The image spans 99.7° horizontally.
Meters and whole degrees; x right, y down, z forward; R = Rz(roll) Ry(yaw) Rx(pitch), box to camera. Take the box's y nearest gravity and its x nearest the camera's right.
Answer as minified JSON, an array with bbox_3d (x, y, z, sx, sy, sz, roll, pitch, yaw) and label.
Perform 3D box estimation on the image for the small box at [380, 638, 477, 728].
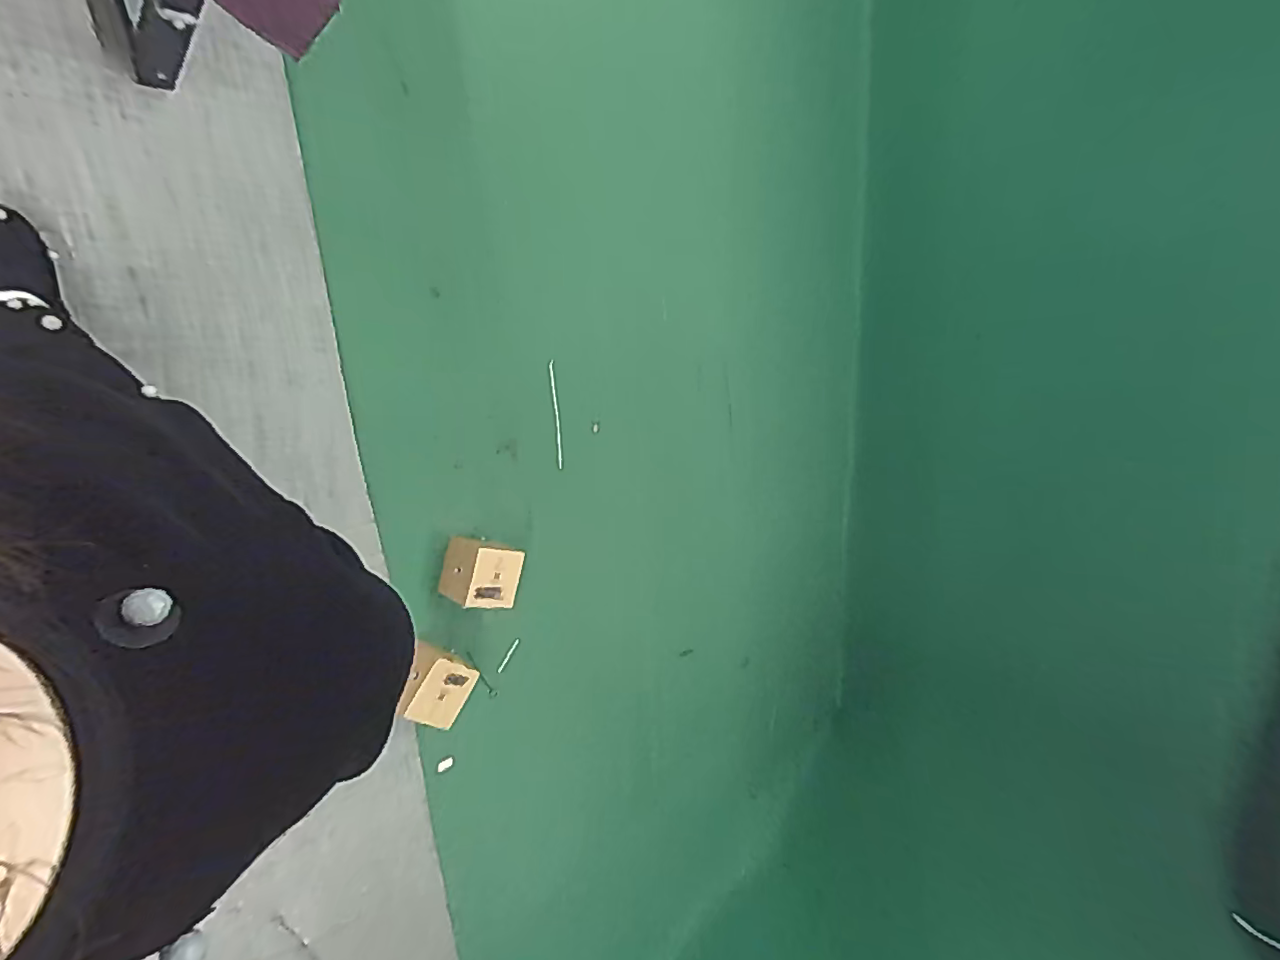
[{"bbox_3d":[-0.620,0.586,1.575,0.168,0.176,0.179,45,67,-42],"label":"small box"}]
